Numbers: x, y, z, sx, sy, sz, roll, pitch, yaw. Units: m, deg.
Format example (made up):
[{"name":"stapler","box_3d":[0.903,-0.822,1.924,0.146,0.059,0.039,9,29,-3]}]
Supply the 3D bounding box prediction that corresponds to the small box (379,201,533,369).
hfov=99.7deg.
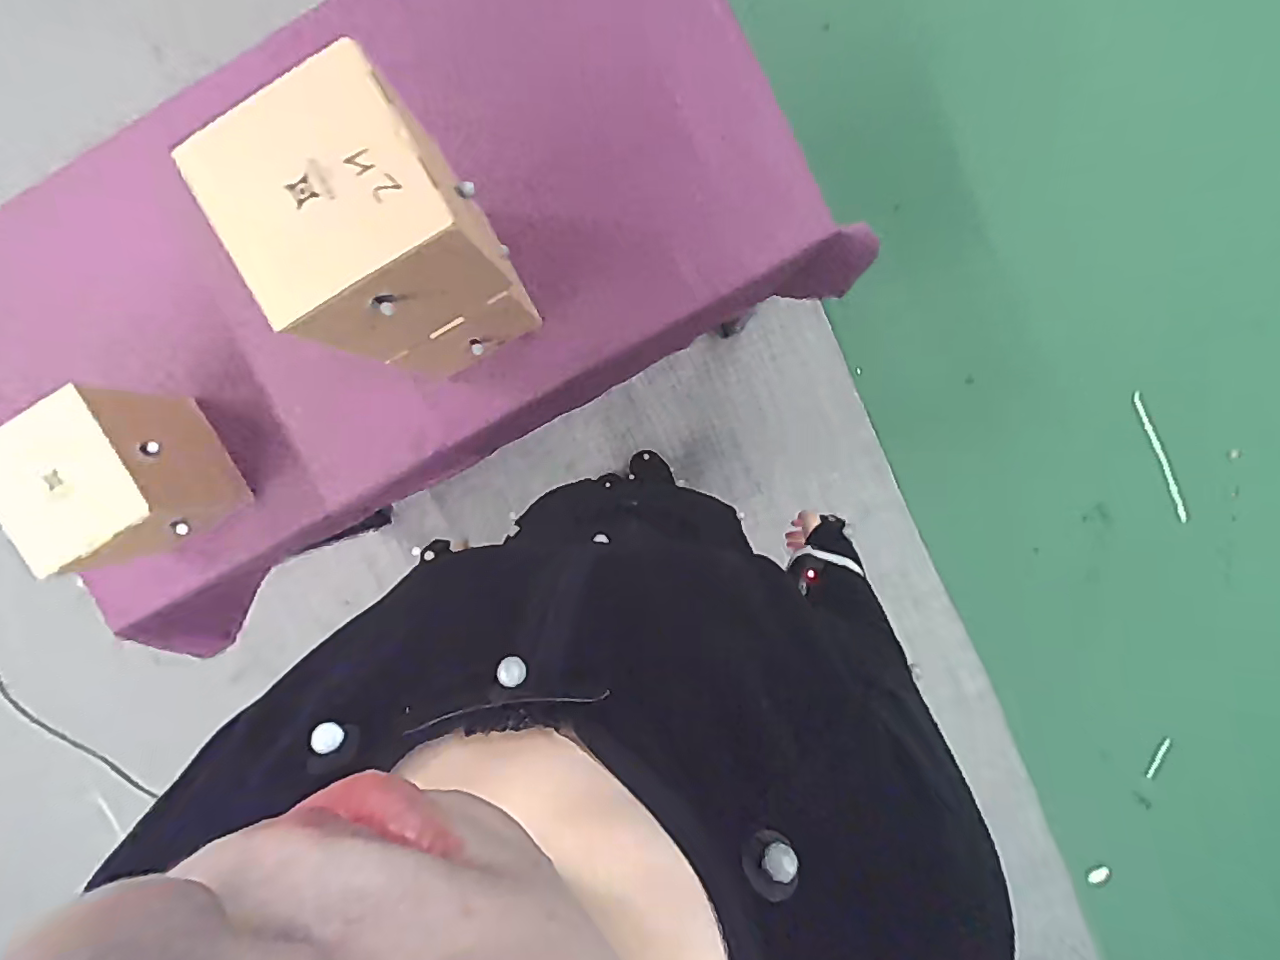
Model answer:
[{"name":"small box","box_3d":[-0.254,-0.251,0.674,0.168,0.176,0.179,-28,94,3]}]

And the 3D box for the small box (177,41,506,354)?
[{"name":"small box","box_3d":[-0.256,-0.237,0.509,0.179,0.176,0.168,-29,93,4]}]

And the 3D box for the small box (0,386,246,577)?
[{"name":"small box","box_3d":[-0.675,-0.003,0.706,0.168,0.176,0.179,-30,93,3]}]
